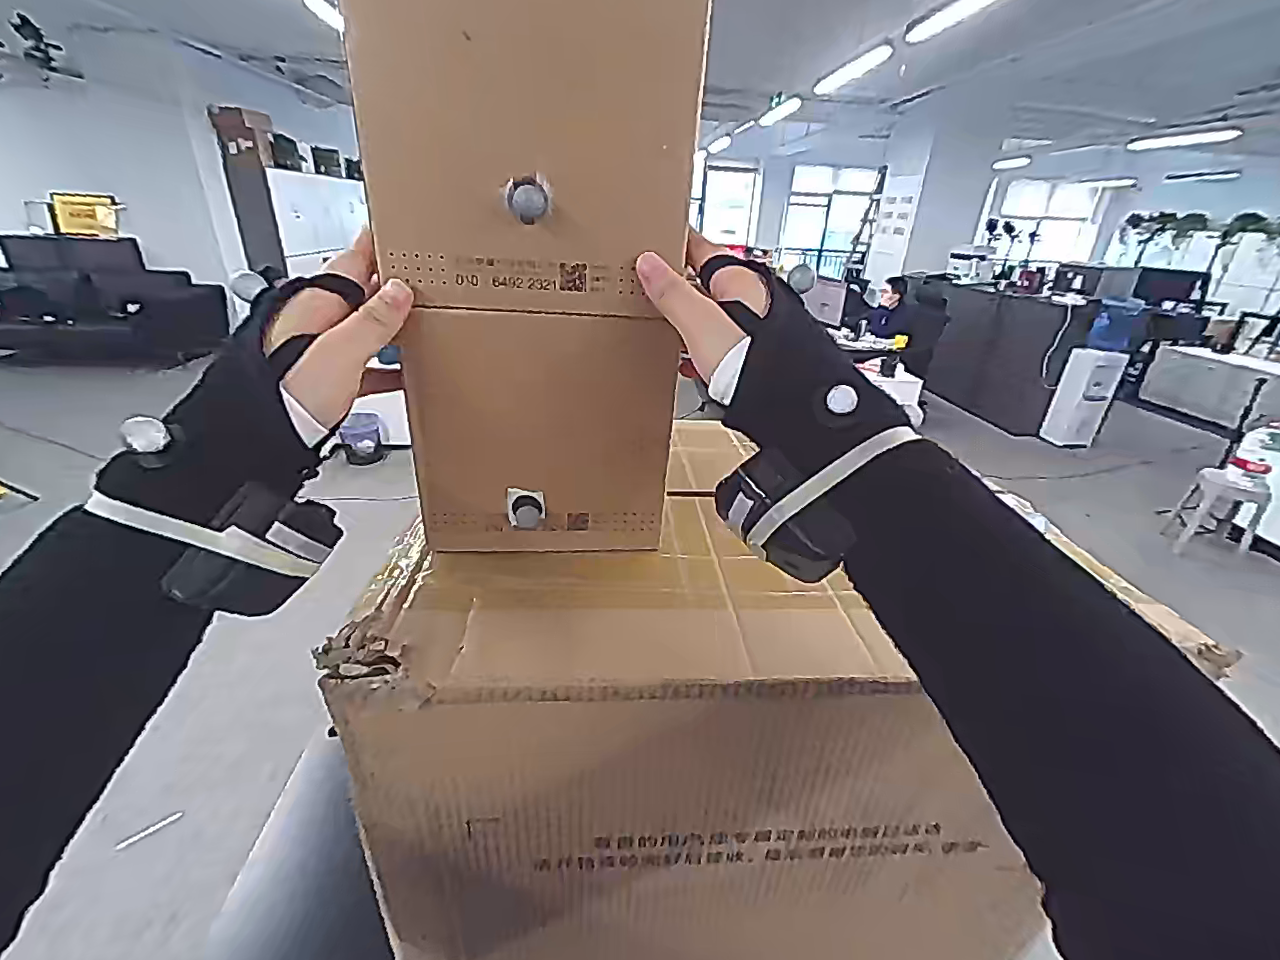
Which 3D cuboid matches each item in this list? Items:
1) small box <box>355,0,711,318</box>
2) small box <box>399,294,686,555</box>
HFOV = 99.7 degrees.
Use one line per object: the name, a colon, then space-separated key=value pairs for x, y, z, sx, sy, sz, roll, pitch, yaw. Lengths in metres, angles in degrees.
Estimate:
small box: x=-0.060 y=-0.206 z=0.338 sx=0.168 sy=0.176 sz=0.179 roll=1 pitch=28 yaw=-6
small box: x=-0.068 y=-0.059 z=0.415 sx=0.168 sy=0.176 sz=0.179 roll=-1 pitch=28 yaw=-8
